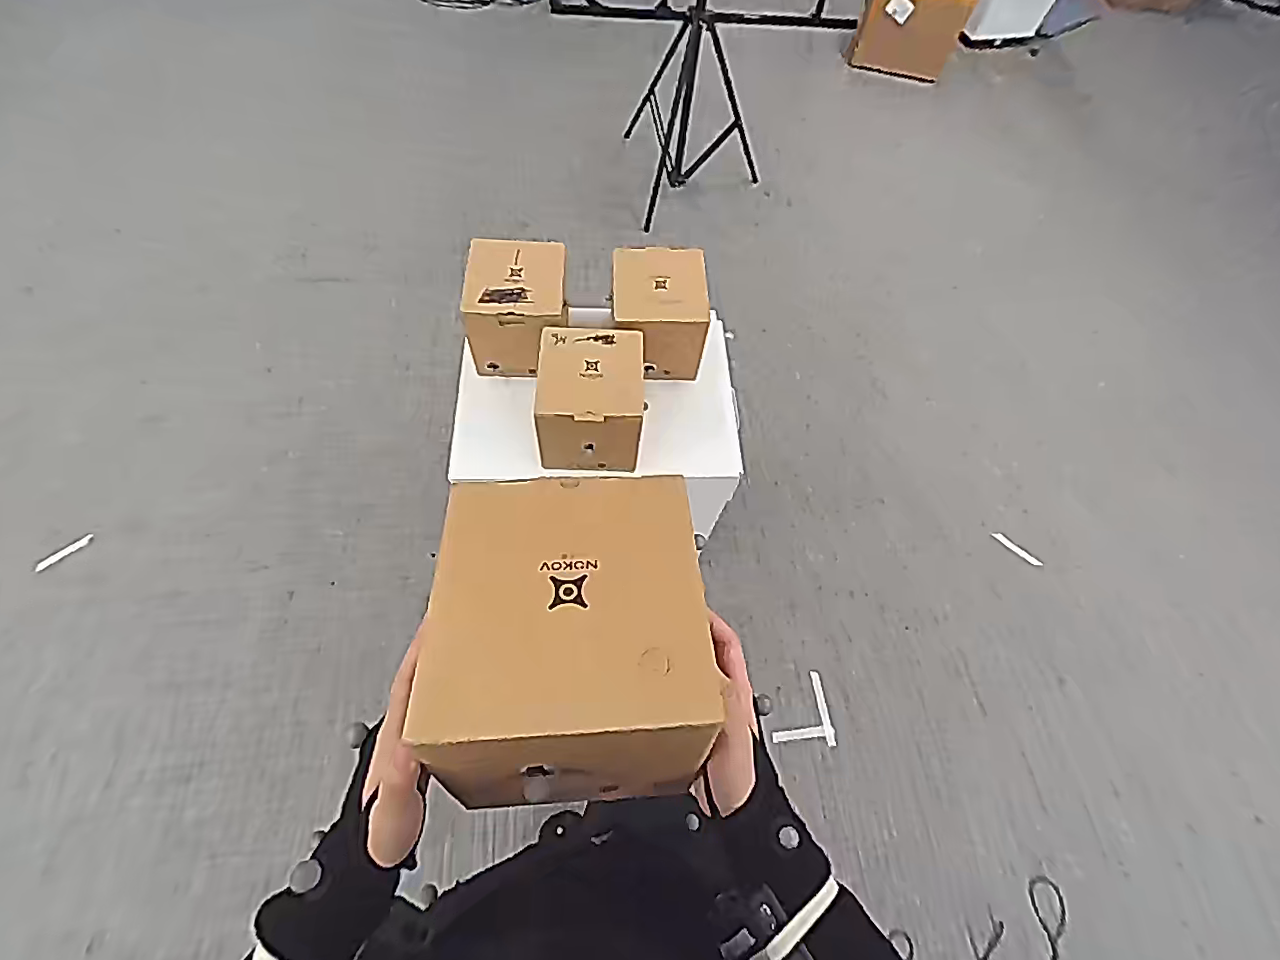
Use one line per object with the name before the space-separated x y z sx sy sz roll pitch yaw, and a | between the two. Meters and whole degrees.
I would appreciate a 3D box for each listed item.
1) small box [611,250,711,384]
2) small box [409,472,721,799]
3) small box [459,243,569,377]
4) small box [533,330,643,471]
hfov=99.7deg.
small box | 0.030 -0.300 1.010 0.168 0.176 0.179 -1 65 -4
small box | -0.046 0.116 0.391 0.168 0.176 0.179 -2 48 -6
small box | -0.219 -0.302 0.988 0.168 0.176 0.179 1 63 -5
small box | -0.082 -0.126 0.910 0.168 0.176 0.179 2 63 -4
